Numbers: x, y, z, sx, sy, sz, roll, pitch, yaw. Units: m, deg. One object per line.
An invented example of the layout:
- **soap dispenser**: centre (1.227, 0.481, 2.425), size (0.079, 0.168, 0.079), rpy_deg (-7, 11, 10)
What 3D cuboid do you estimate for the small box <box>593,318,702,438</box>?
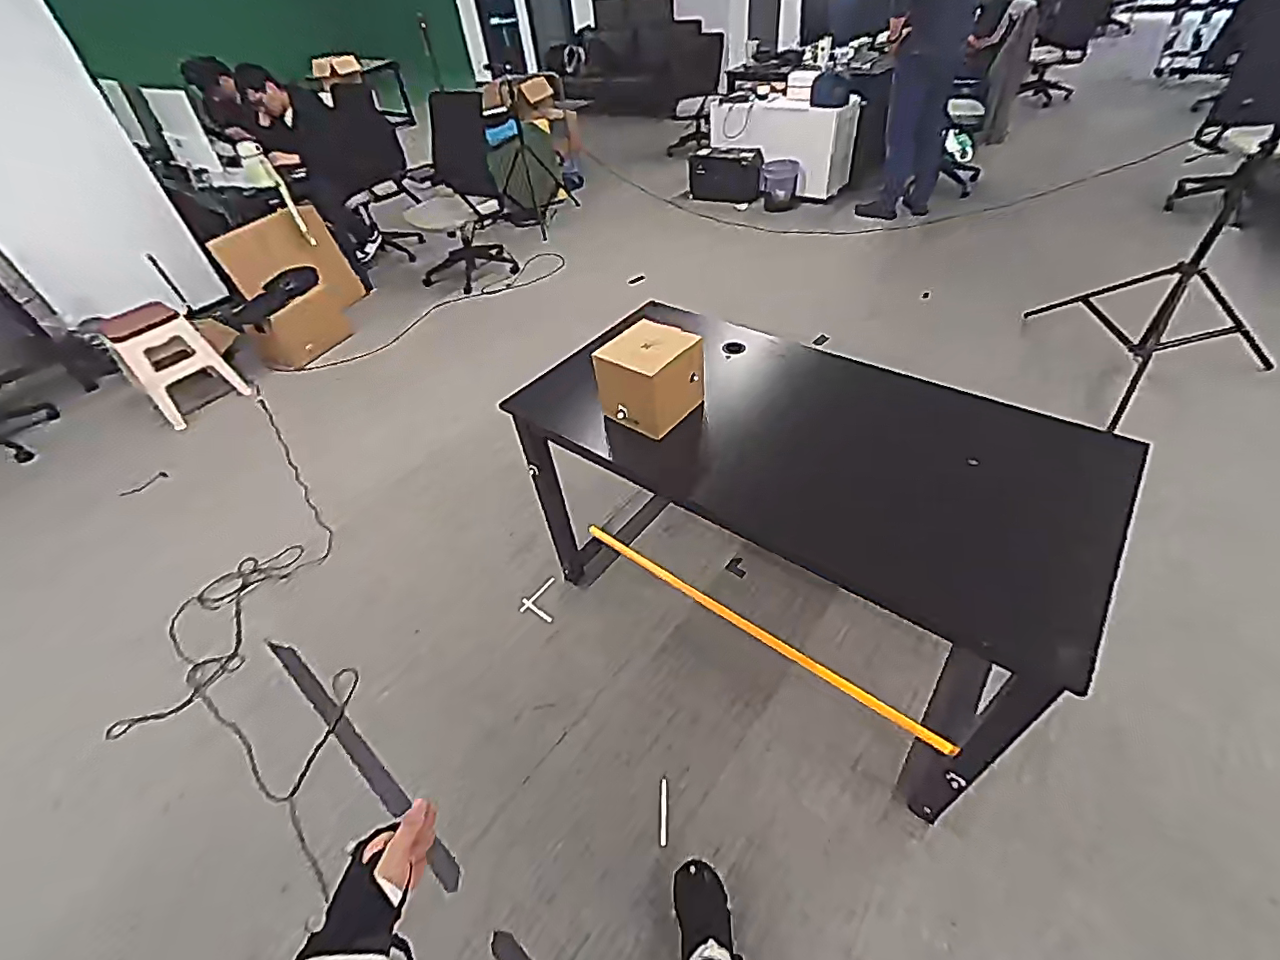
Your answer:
- **small box**: centre (0.022, -0.224, 1.183), size (0.168, 0.176, 0.179), rpy_deg (26, 54, 31)
